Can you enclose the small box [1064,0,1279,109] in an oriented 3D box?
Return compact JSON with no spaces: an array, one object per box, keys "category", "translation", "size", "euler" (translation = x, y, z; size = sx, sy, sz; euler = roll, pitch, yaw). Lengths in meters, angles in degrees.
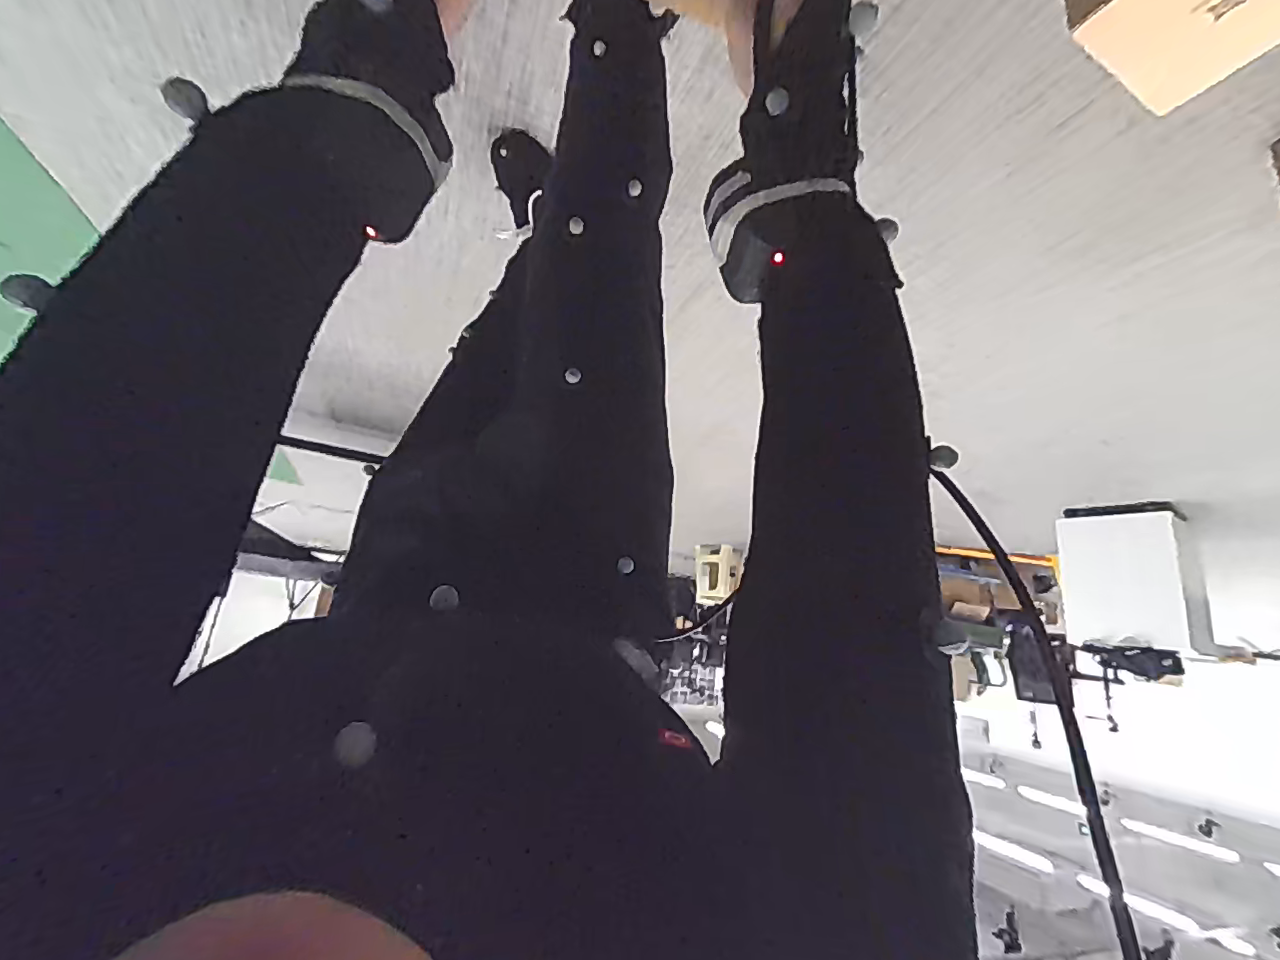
[{"category":"small box","translation":[0.538,-0.516,0.511],"size":[0.179,0.176,0.168],"euler":[14,164,-23]}]
